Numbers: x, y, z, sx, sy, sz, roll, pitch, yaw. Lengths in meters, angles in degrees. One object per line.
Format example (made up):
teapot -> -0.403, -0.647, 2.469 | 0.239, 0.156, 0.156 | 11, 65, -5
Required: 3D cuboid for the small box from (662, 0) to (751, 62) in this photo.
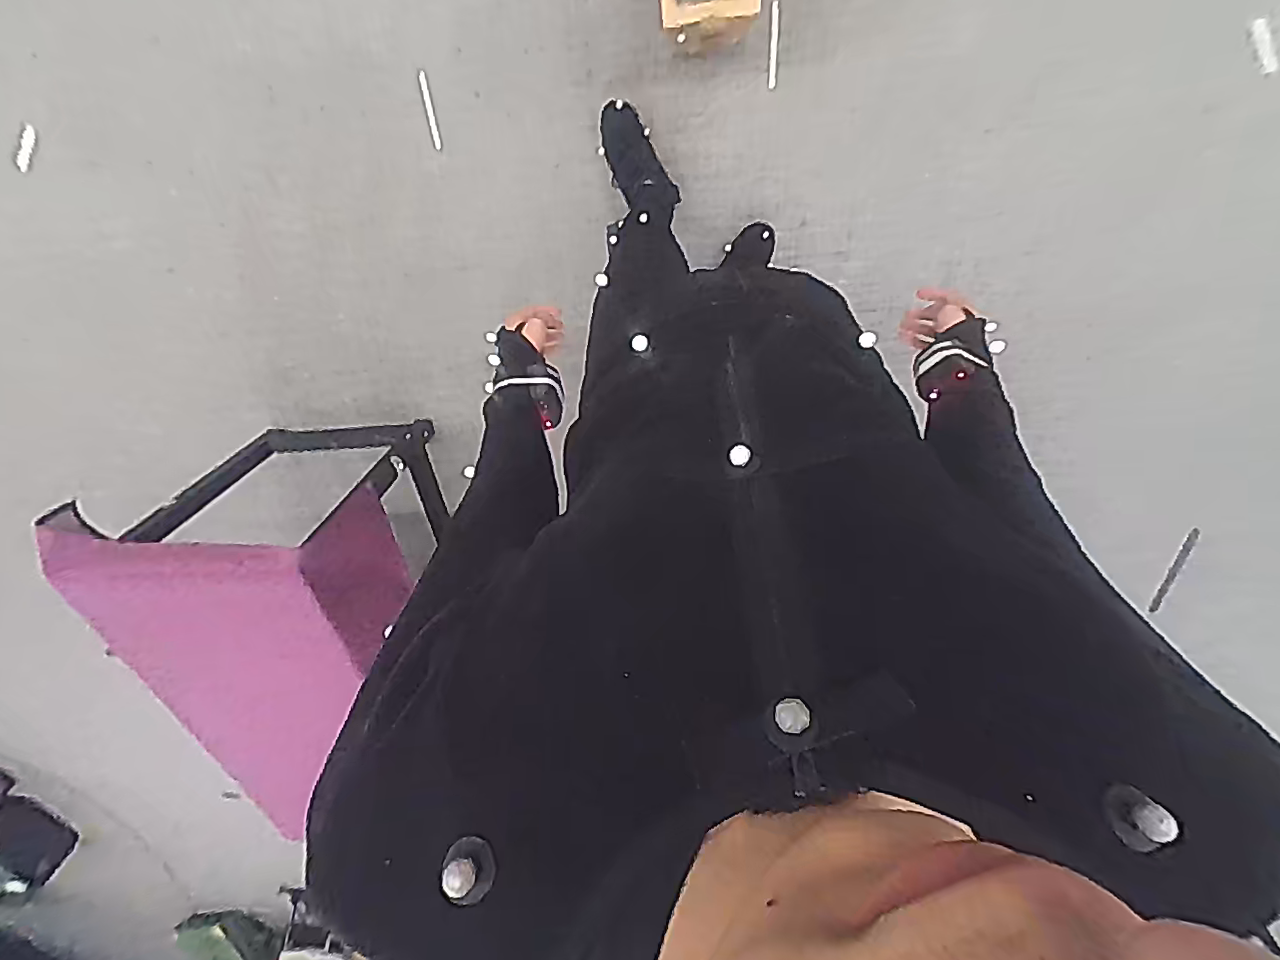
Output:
small box -> 0.127, -0.968, 1.082 | 0.168, 0.176, 0.179 | -5, 123, 8
